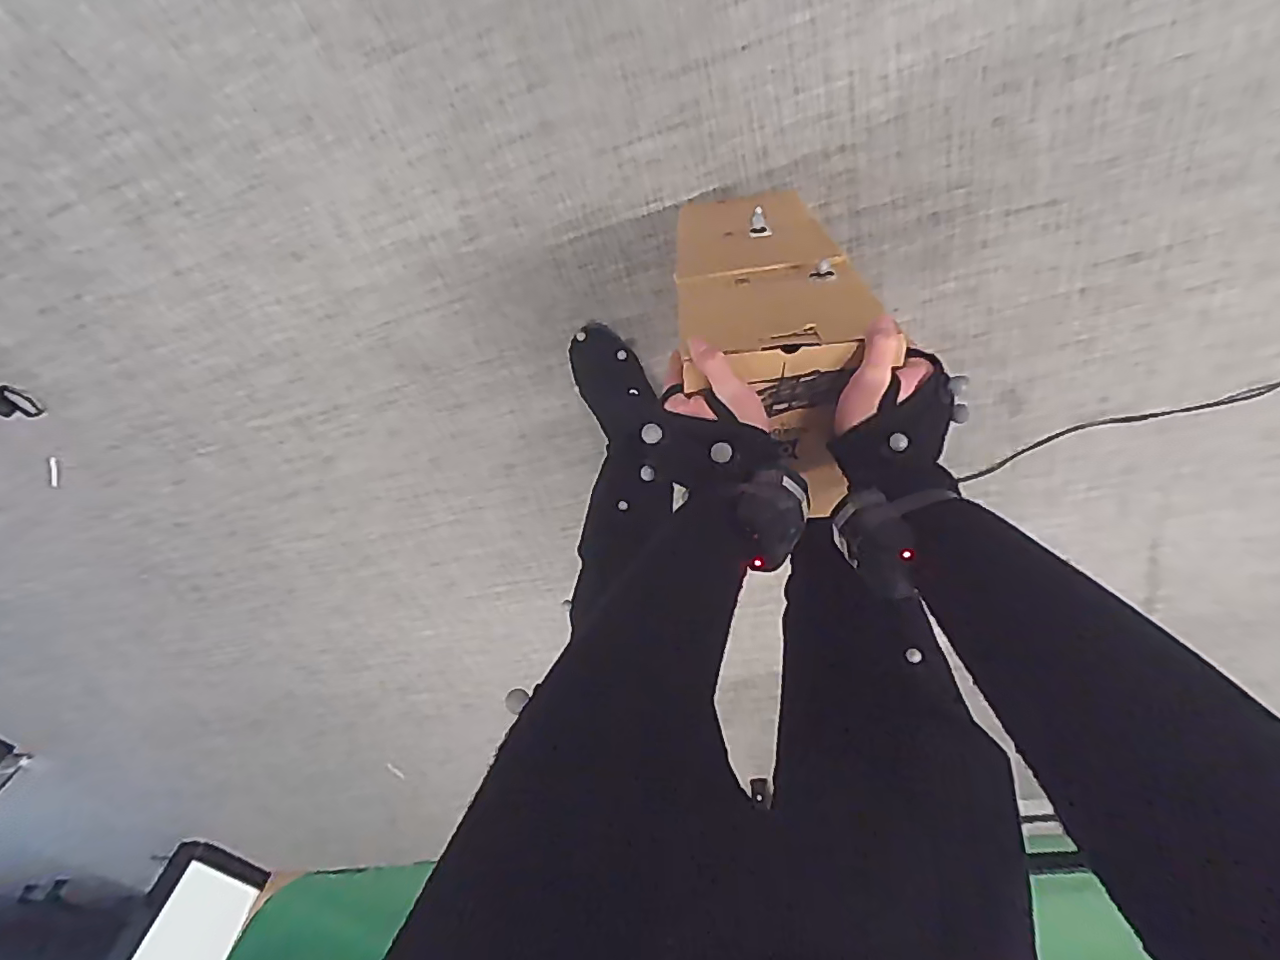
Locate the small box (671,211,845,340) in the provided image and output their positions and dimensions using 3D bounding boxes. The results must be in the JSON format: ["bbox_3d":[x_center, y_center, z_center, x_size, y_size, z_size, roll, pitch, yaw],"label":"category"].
[{"bbox_3d":[0.129,-0.191,0.629,0.168,0.176,0.179,-5,127,8],"label":"small box"}]

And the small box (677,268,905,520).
[{"bbox_3d":[0.123,-0.085,0.506,0.168,0.176,0.179,-4,130,7],"label":"small box"}]

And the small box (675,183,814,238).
[{"bbox_3d":[0.141,-0.292,0.754,0.168,0.176,0.179,-3,129,9],"label":"small box"}]
